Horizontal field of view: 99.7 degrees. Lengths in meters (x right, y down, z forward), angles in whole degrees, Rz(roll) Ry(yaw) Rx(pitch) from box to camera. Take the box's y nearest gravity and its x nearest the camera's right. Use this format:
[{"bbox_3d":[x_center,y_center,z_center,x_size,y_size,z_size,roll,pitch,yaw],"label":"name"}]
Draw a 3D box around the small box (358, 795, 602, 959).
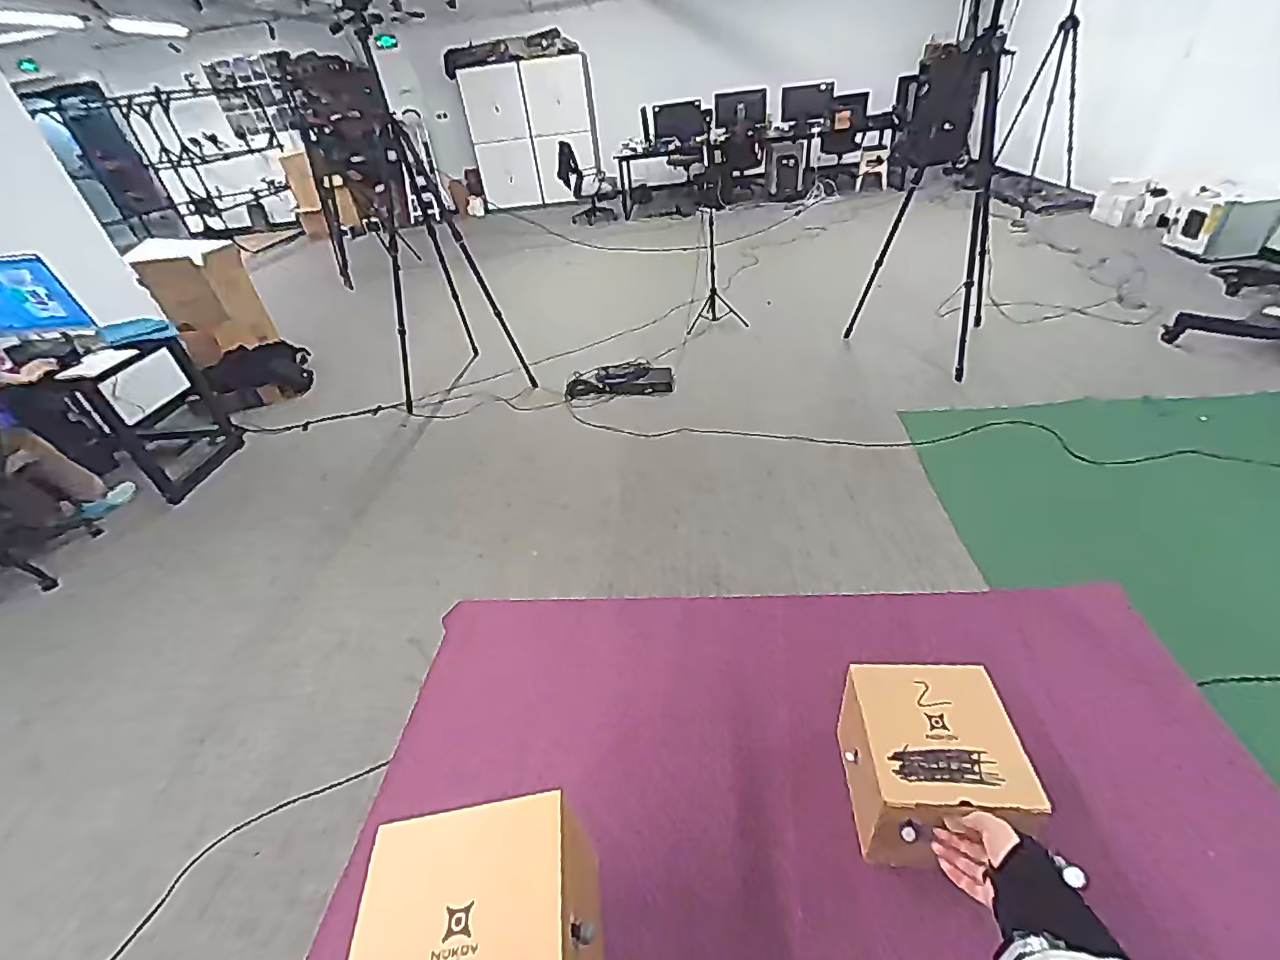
[{"bbox_3d":[-0.128,0.416,0.474,0.168,0.176,0.179,-11,38,-1],"label":"small box"}]
